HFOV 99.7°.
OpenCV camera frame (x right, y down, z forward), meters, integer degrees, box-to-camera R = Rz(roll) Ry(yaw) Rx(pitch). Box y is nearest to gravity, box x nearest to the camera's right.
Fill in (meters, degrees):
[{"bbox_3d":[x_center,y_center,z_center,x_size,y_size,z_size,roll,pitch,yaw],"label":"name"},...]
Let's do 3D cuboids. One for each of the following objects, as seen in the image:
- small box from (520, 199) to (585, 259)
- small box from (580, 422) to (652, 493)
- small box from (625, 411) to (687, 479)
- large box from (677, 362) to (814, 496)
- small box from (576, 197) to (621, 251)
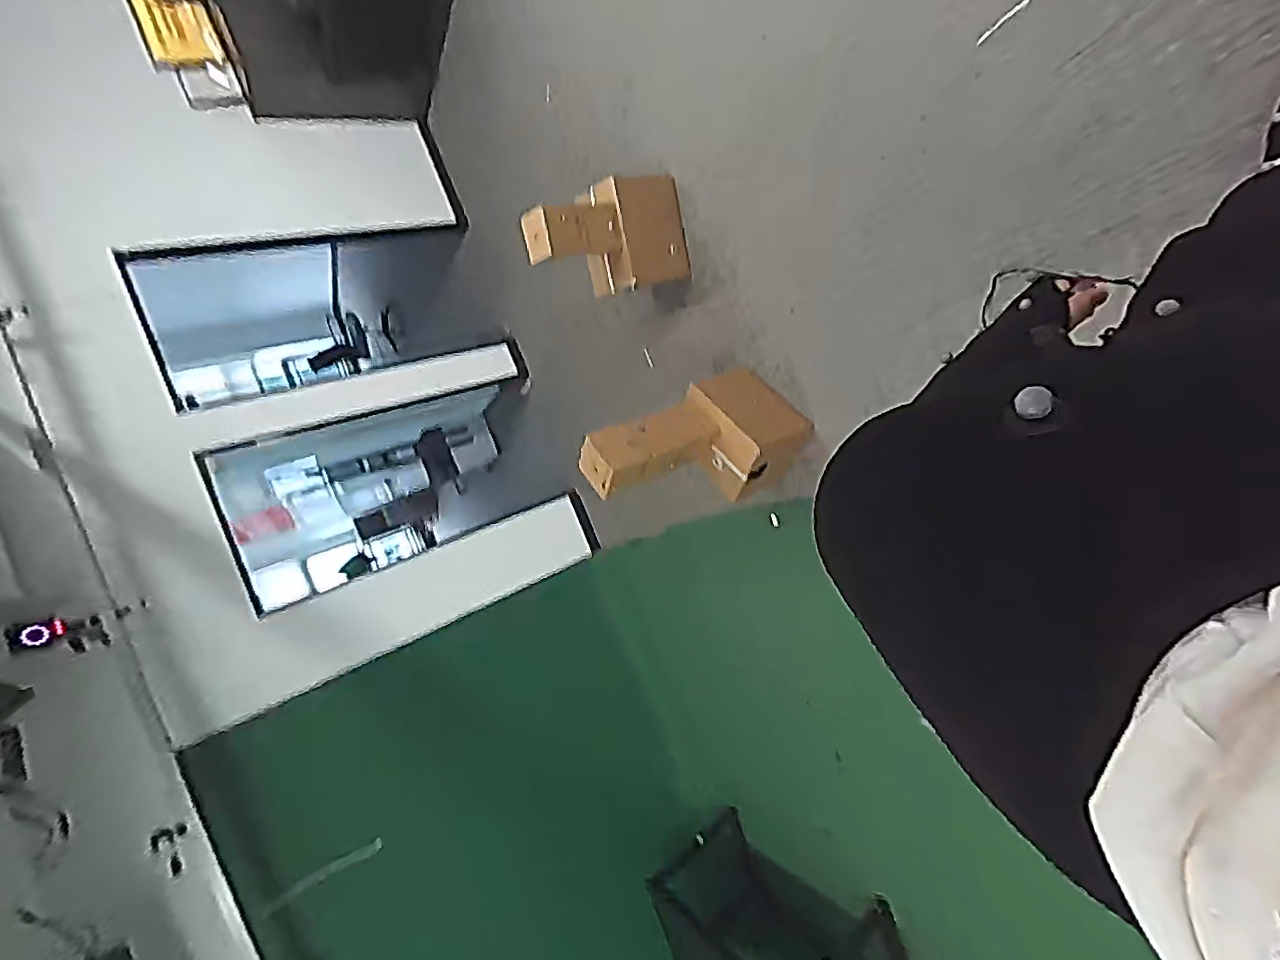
[{"bbox_3d":[-0.322,-0.946,2.037,0.179,0.176,0.168,11,118,54],"label":"small box"},{"bbox_3d":[-0.087,-0.086,1.900,0.179,0.176,0.168,53,147,24],"label":"small box"},{"bbox_3d":[0.043,-0.136,1.987,0.179,0.176,0.168,52,146,24],"label":"small box"},{"bbox_3d":[0.406,-0.216,2.176,0.408,0.320,0.320,48,145,27],"label":"large box"},{"bbox_3d":[-0.198,-1.003,2.127,0.179,0.176,0.168,13,120,52],"label":"small box"}]
